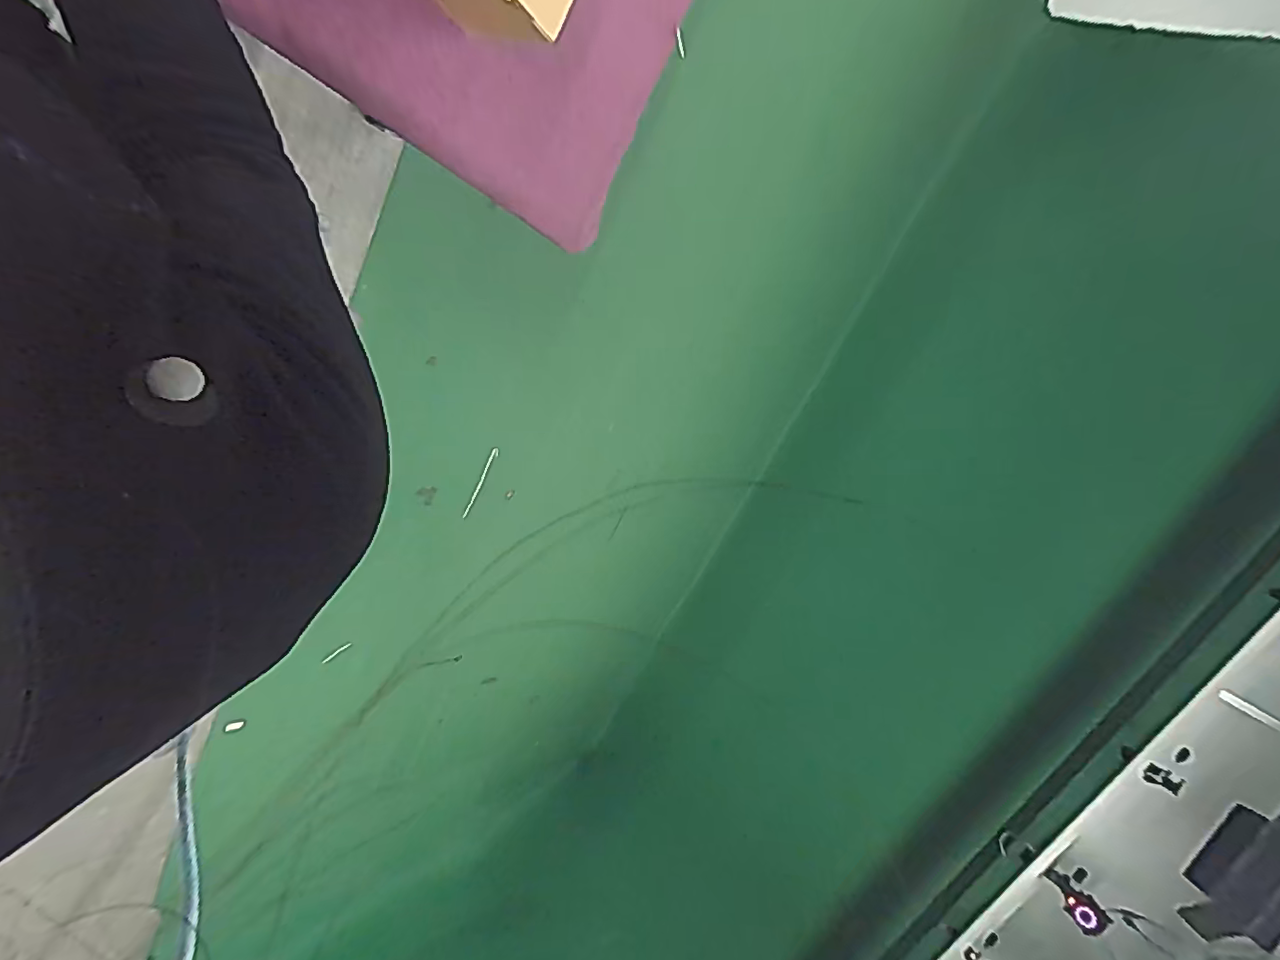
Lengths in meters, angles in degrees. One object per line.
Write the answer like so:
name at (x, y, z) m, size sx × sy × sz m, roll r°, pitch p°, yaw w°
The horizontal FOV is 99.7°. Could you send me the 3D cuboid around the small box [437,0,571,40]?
small box at (-0.151, -0.580, 0.519) m, size 0.168 × 0.176 × 0.179 m, roll 11°, pitch 112°, yaw -57°
